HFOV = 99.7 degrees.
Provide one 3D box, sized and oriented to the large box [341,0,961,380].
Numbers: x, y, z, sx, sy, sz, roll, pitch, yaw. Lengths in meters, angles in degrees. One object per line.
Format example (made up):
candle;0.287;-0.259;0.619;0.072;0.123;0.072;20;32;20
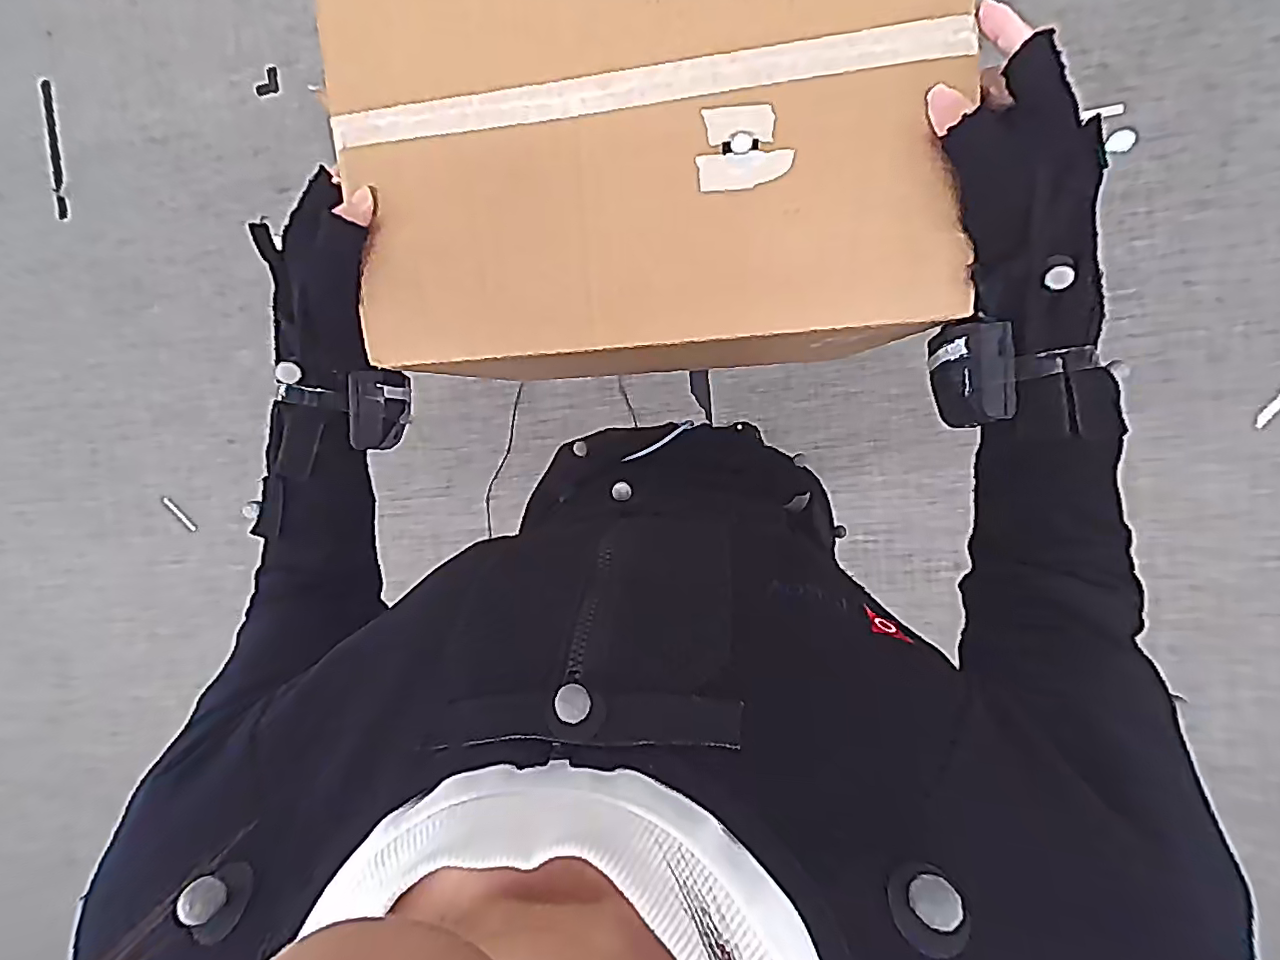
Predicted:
large box;0.015;-0.272;0.501;0.408;0.320;0.320;-3;98;7
